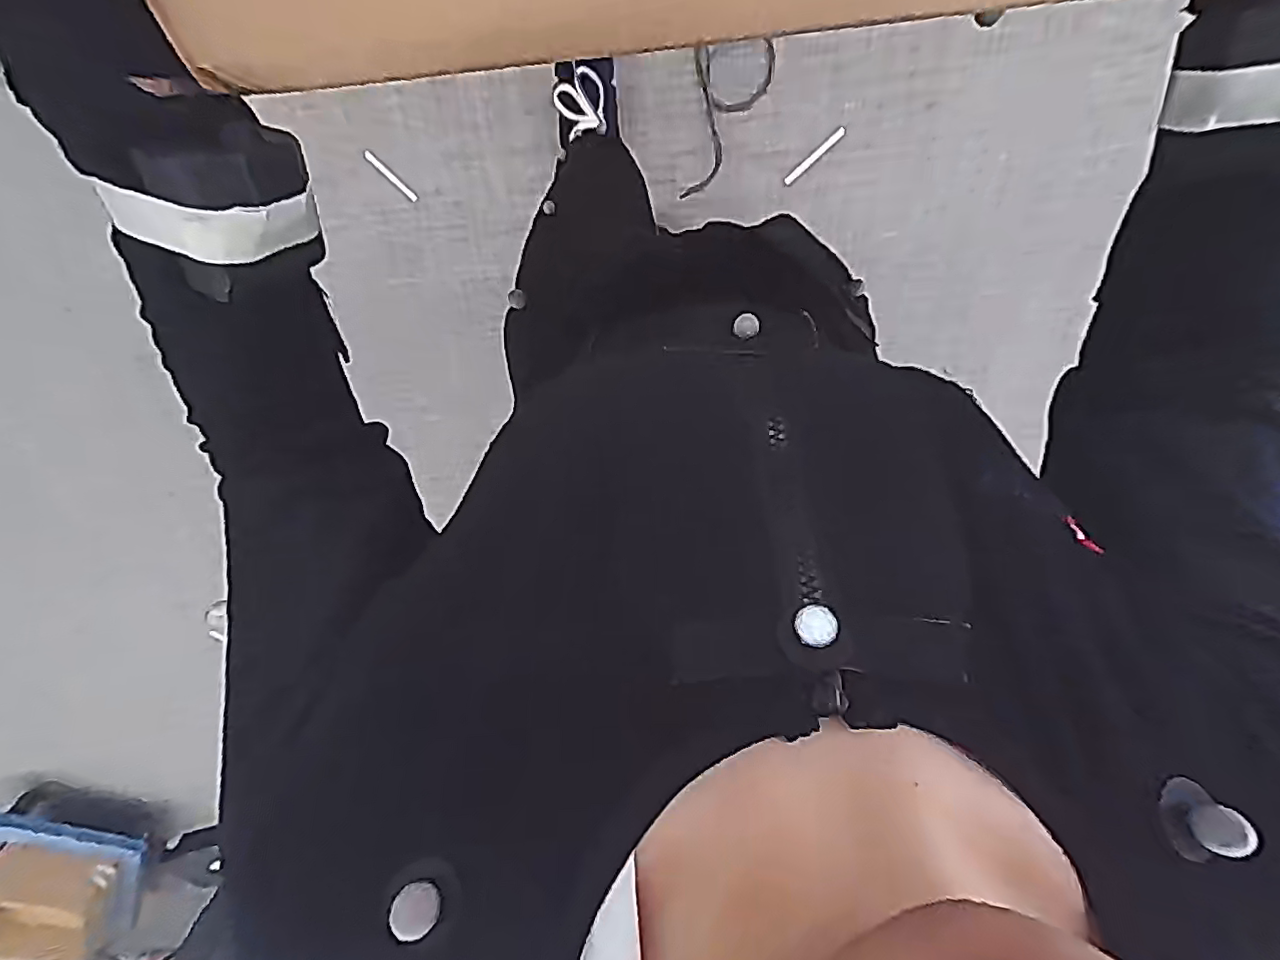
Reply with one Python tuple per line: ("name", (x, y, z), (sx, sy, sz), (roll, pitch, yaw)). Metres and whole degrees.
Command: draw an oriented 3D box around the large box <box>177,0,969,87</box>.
("large box", (0.008, -0.389, 0.191), (0.408, 0.320, 0.320), (-5, 139, 1))
